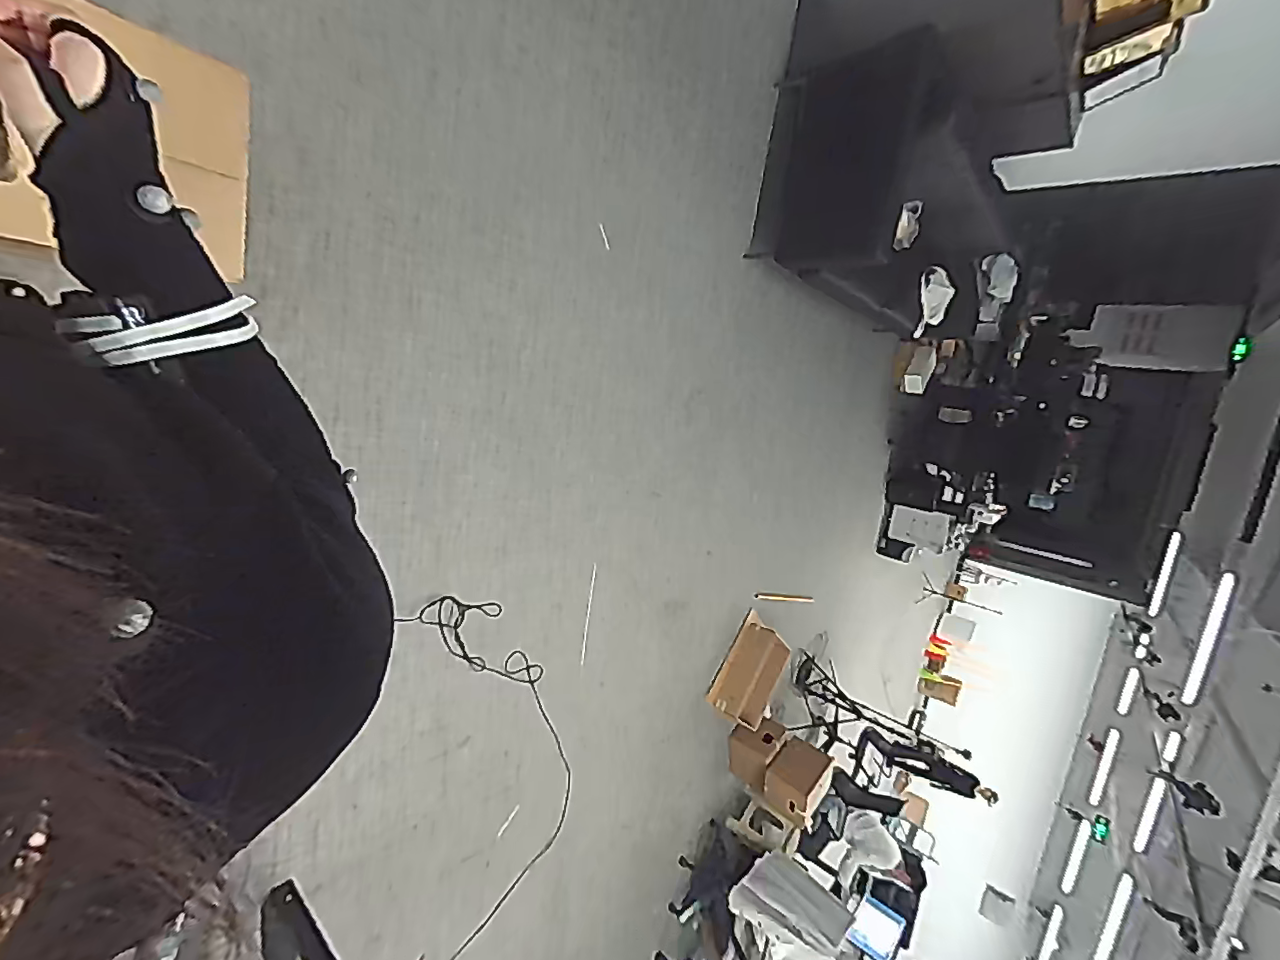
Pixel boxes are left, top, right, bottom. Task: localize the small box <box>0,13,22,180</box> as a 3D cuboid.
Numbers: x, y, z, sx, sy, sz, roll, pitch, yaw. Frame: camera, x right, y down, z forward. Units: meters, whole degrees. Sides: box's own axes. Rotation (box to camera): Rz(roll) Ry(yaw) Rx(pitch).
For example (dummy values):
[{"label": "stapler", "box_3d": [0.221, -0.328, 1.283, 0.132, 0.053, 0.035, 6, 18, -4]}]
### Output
[{"label": "small box", "box_3d": [-0.484, -0.293, 0.301, 0.168, 0.176, 0.179, -10, 109, -45]}]
